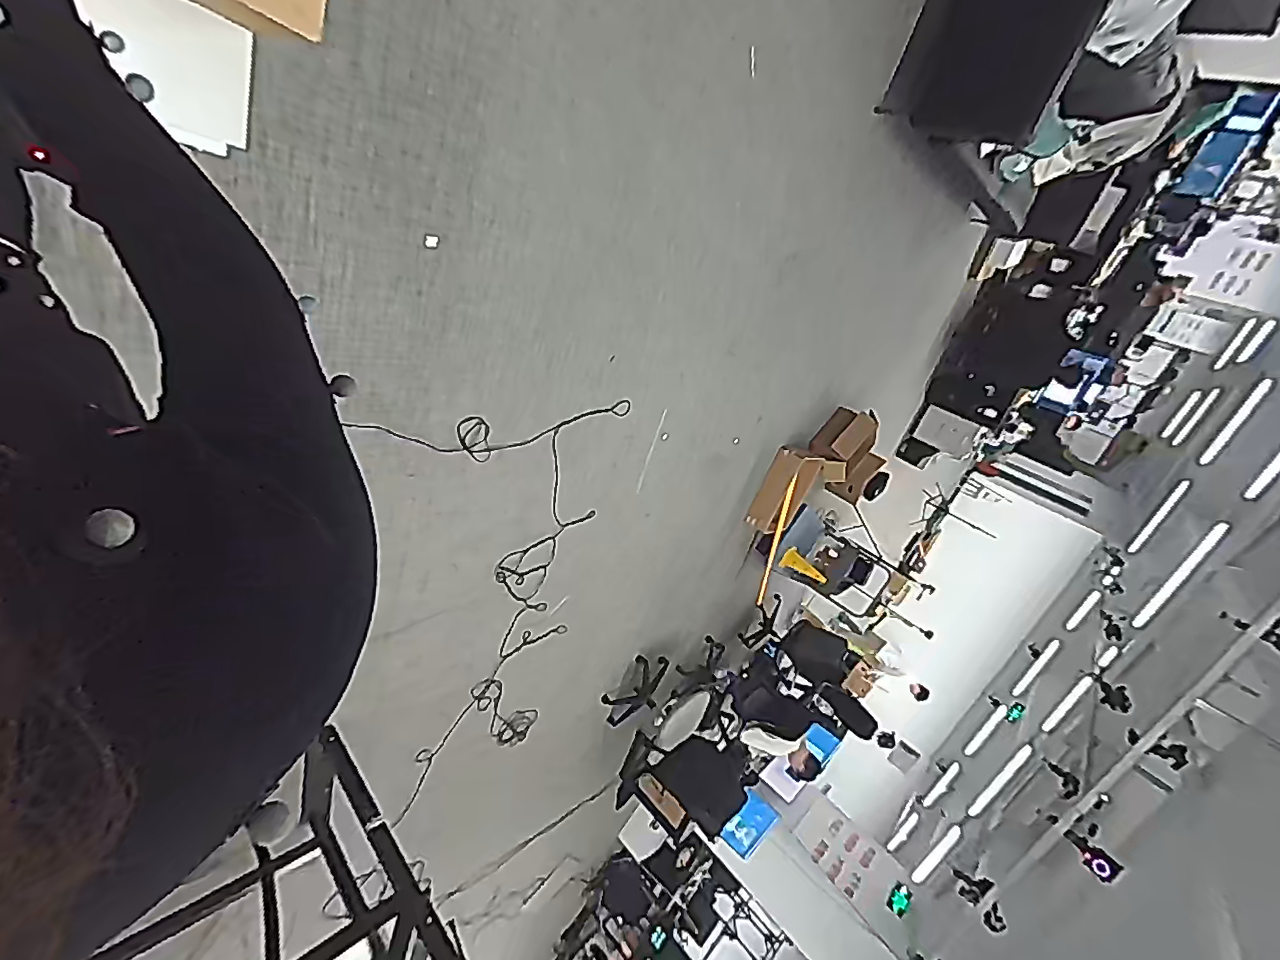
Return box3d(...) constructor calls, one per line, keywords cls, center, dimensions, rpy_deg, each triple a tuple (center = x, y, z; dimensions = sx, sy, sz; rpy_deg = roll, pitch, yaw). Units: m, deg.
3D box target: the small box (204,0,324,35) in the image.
box3d(cls="small box", center=(-0.390, -0.531, 0.471), dimensions=(0.179, 0.176, 0.168), rpy_deg=(-3, 122, -51))
